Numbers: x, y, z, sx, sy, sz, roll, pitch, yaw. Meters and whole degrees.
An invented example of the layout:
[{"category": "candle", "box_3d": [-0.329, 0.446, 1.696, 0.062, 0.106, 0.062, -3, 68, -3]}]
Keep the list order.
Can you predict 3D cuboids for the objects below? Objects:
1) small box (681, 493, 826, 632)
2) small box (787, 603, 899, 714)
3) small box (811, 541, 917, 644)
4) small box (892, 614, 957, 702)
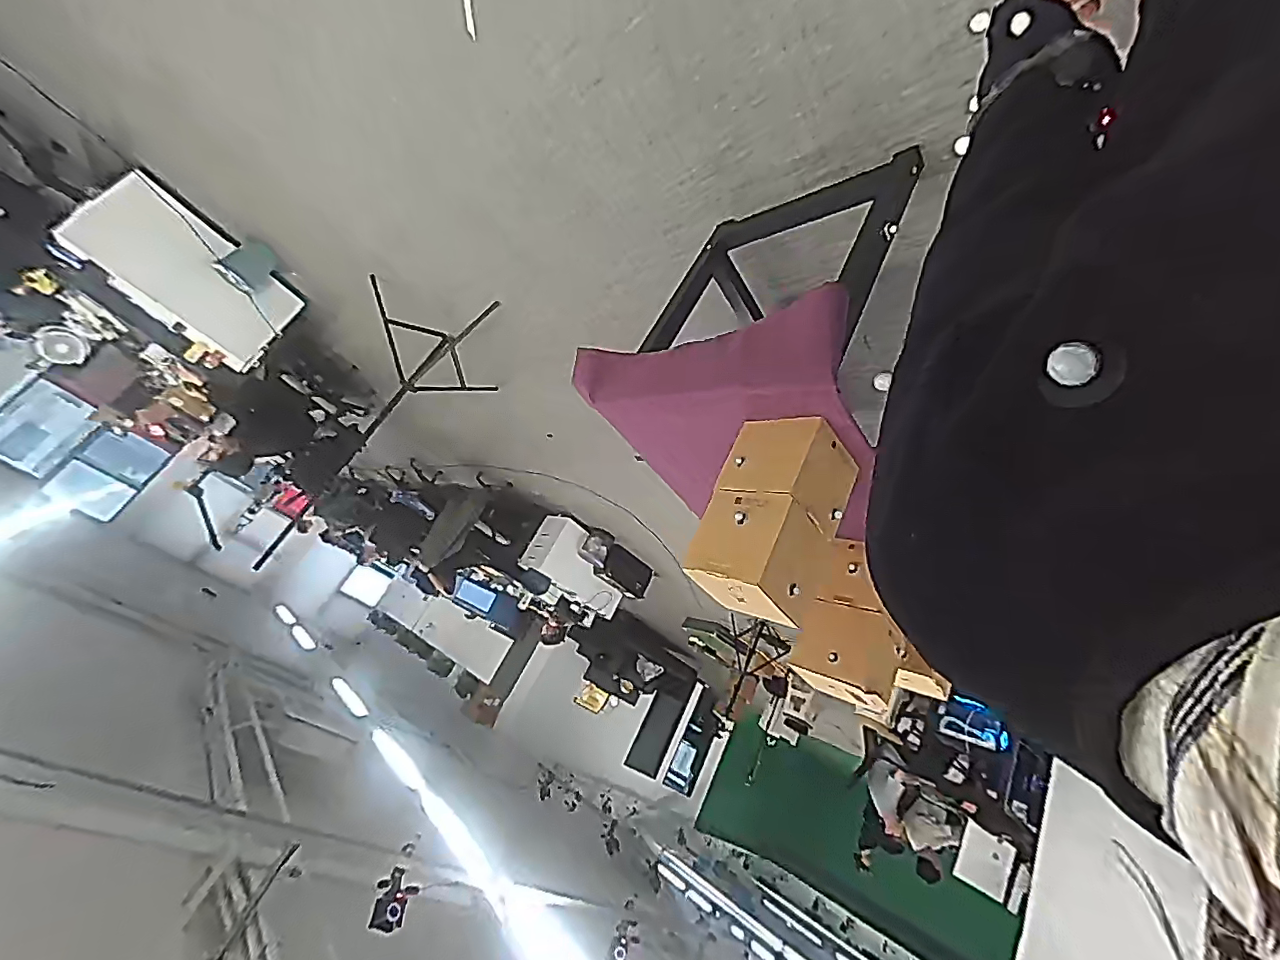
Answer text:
[{"category": "small box", "box_3d": [0.210, 0.144, 0.972, 0.168, 0.176, 0.179, 5, 149, 45]}, {"category": "small box", "box_3d": [0.466, 0.395, 1.222, 0.179, 0.176, 0.168, 5, 149, 46]}, {"category": "small box", "box_3d": [0.537, 0.262, 1.289, 0.168, 0.176, 0.179, 3, 147, 46]}, {"category": "small box", "box_3d": [0.763, 0.483, 1.505, 0.179, 0.176, 0.168, 5, 147, 47]}]
